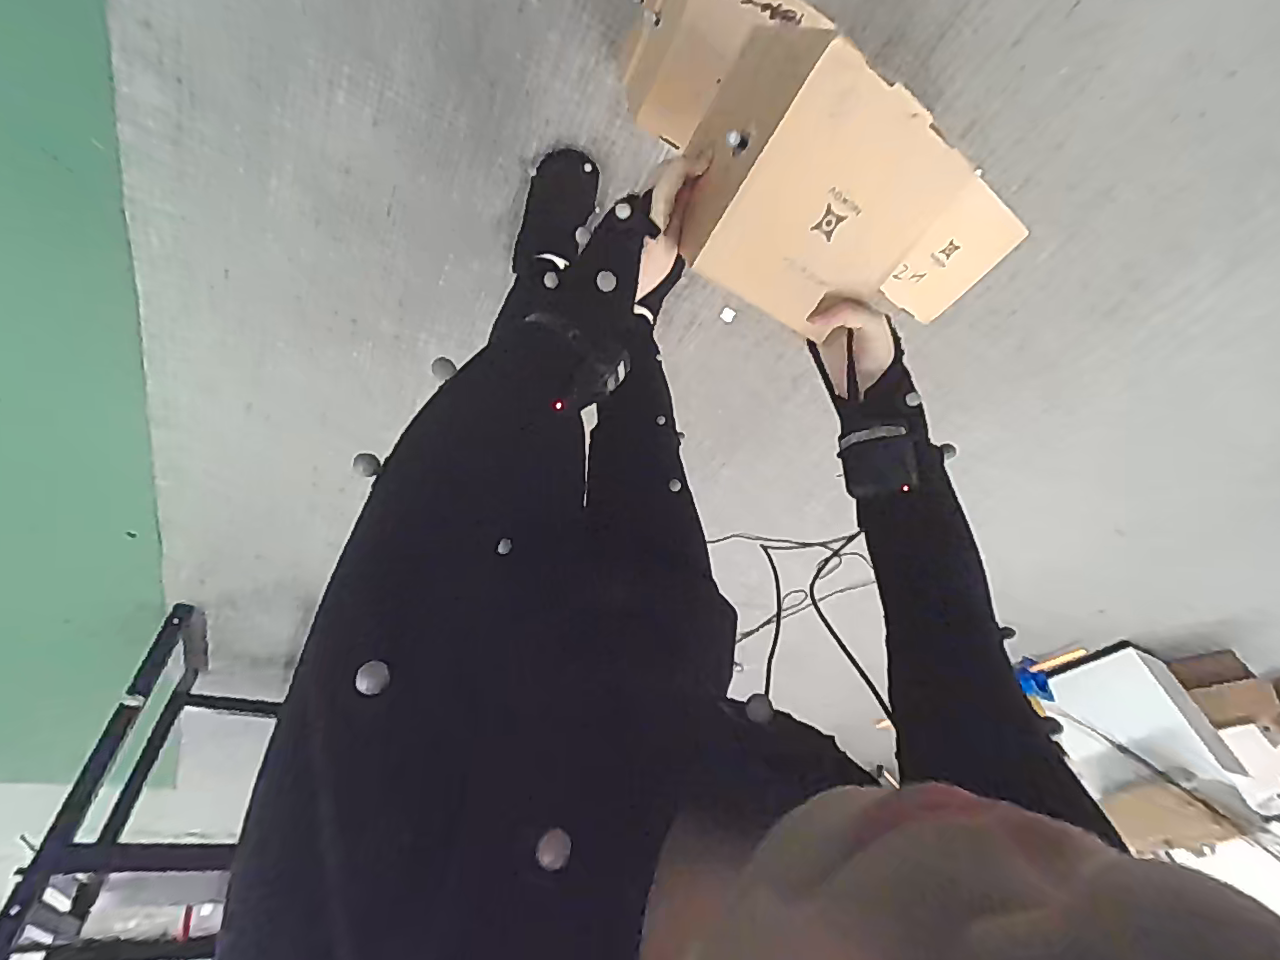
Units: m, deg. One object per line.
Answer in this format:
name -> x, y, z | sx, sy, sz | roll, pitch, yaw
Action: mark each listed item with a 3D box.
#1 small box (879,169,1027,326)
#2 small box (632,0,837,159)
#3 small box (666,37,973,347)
small box -> 0.424, -0.378, 0.824 | 0.168, 0.176, 0.179 | 22, 129, -27
small box -> 0.098, -0.497, 0.653 | 0.168, 0.176, 0.179 | 16, 133, -23
small box -> 0.141, -0.261, 0.493 | 0.168, 0.176, 0.179 | 19, 124, -26
